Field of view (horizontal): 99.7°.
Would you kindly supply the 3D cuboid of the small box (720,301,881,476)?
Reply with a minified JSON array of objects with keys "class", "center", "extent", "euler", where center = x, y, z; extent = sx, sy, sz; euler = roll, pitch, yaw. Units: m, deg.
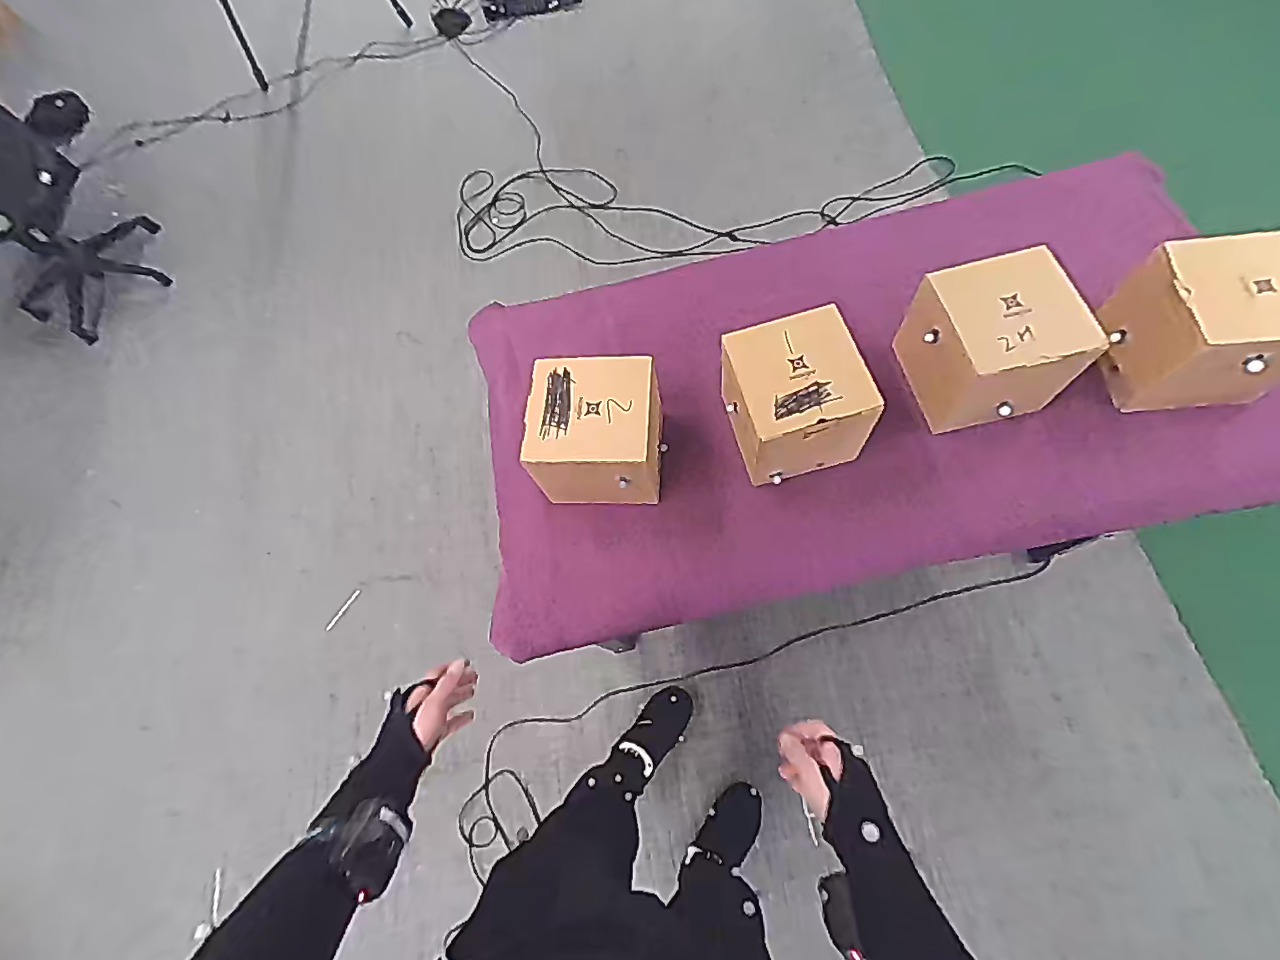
[{"class":"small box","center":[0.220,-0.120,0.787],"extent":[0.168,0.176,0.179],"euler":[-15,67,2]}]

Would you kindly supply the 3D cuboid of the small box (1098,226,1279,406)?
[{"class":"small box","center":[0.779,-0.214,0.737],"extent":[0.179,0.176,0.168],"euler":[-4,68,9]}]

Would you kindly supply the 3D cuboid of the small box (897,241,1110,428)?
[{"class":"small box","center":[0.496,-0.199,0.774],"extent":[0.168,0.176,0.179],"euler":[-13,68,4]}]
